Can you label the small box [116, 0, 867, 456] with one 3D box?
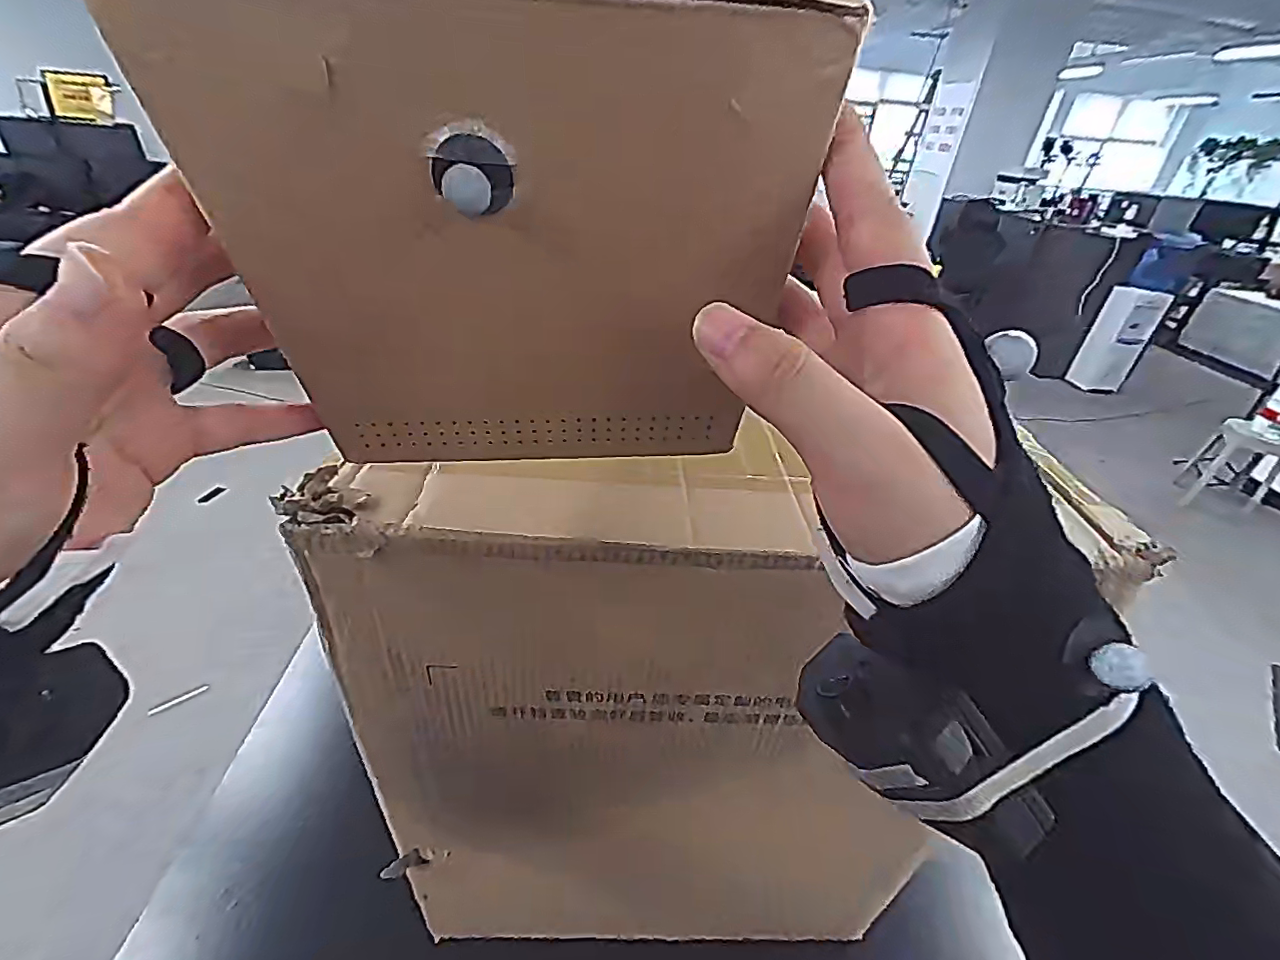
[{"bbox_3d":[-0.042,-0.122,0.229,0.179,0.176,0.168,-2,53,-7],"label":"small box"}]
